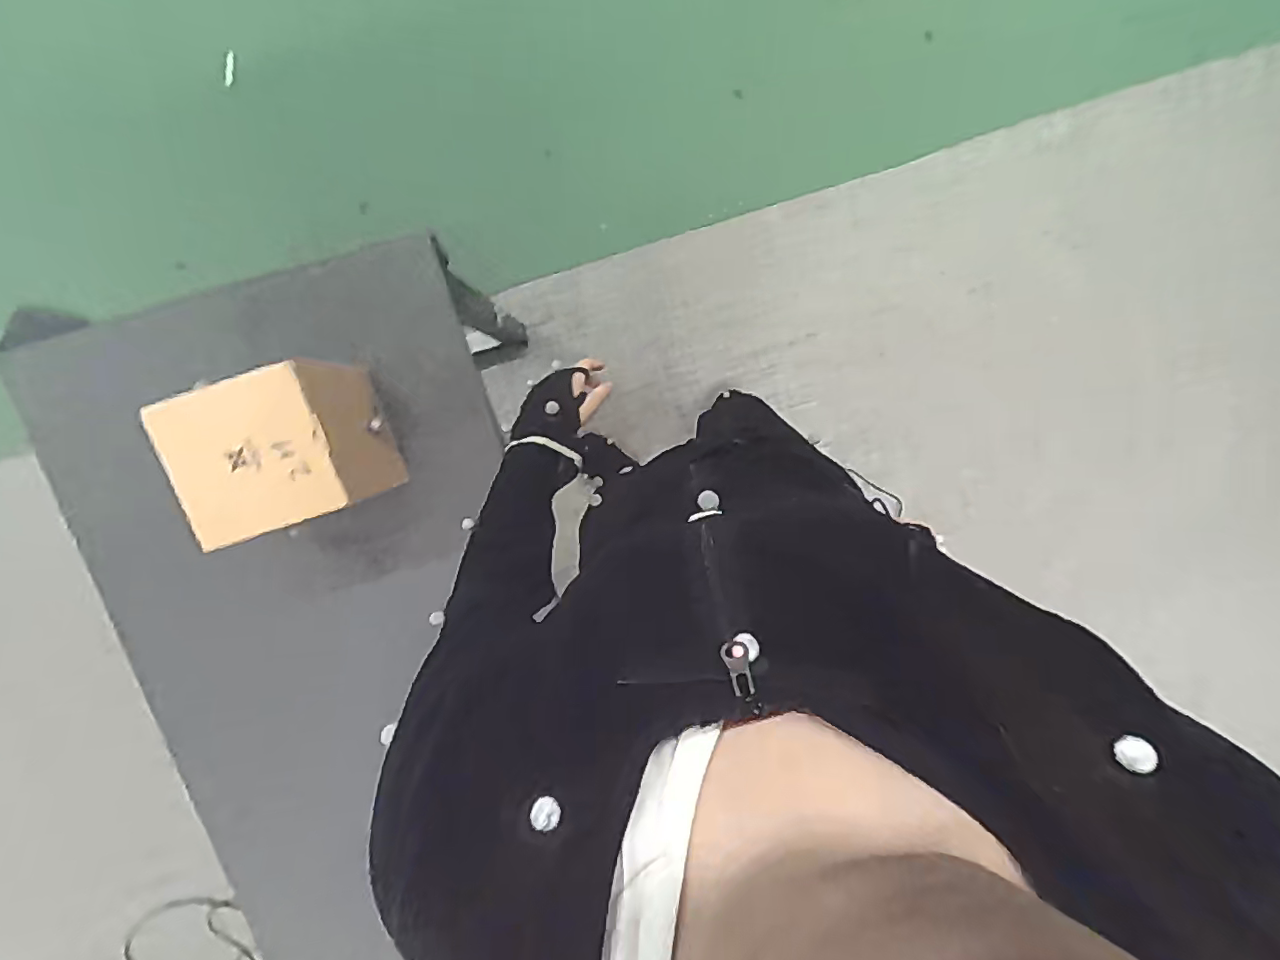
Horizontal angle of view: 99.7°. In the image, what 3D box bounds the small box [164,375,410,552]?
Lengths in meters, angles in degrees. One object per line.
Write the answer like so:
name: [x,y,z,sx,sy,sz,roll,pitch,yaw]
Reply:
small box: [-0.425,-0.024,0.684,0.179,0.176,0.168,-16,97,-2]
